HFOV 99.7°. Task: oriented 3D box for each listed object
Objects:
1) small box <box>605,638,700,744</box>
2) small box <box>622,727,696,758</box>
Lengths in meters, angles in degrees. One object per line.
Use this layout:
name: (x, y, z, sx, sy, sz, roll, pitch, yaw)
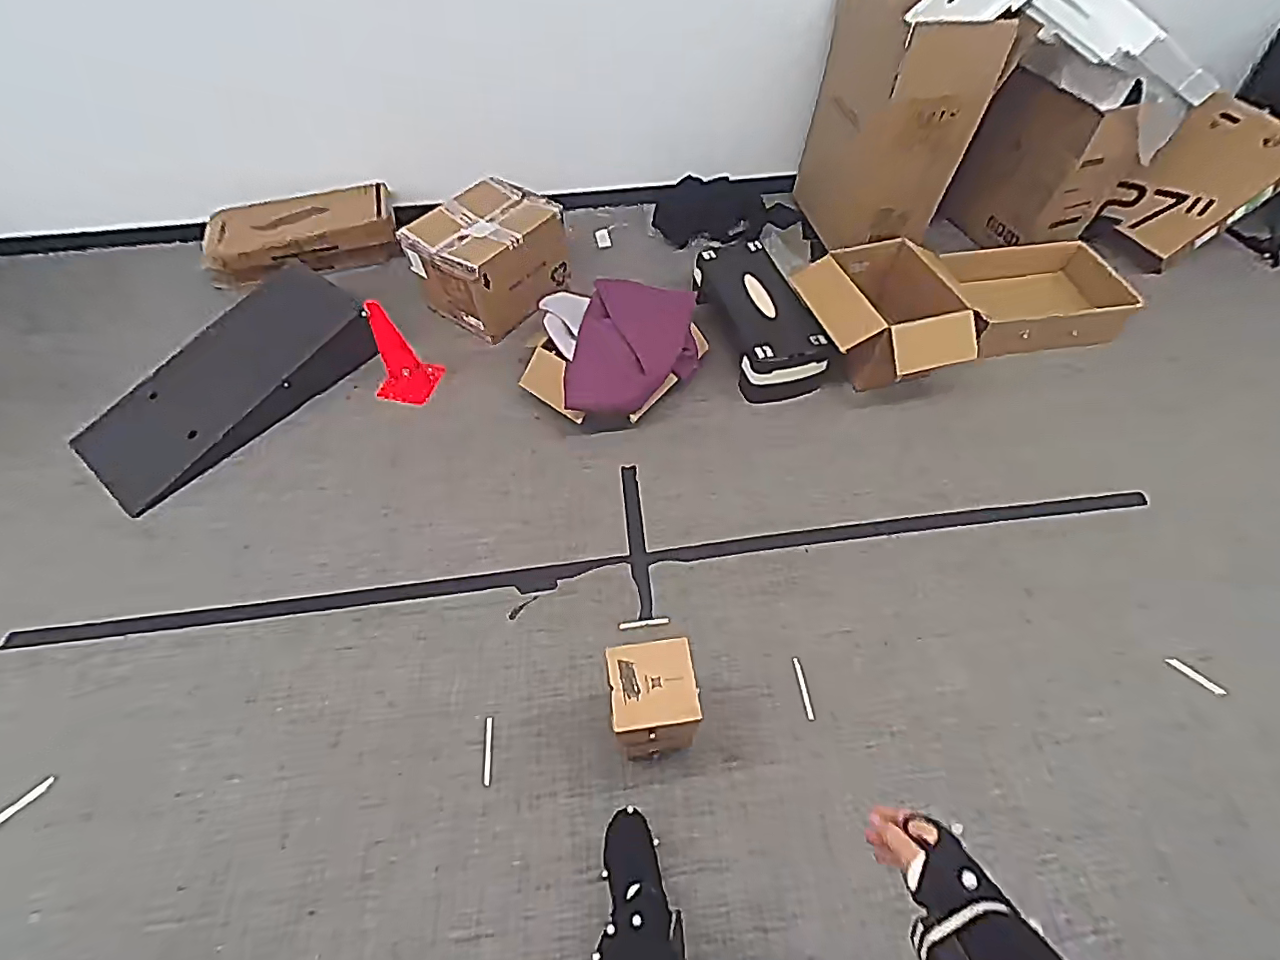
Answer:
small box: (0.024, 0.451, 1.148, 0.179, 0.176, 0.168, -7, 57, -4)
small box: (0.027, 0.543, 1.285, 0.168, 0.176, 0.179, -11, 58, -5)
